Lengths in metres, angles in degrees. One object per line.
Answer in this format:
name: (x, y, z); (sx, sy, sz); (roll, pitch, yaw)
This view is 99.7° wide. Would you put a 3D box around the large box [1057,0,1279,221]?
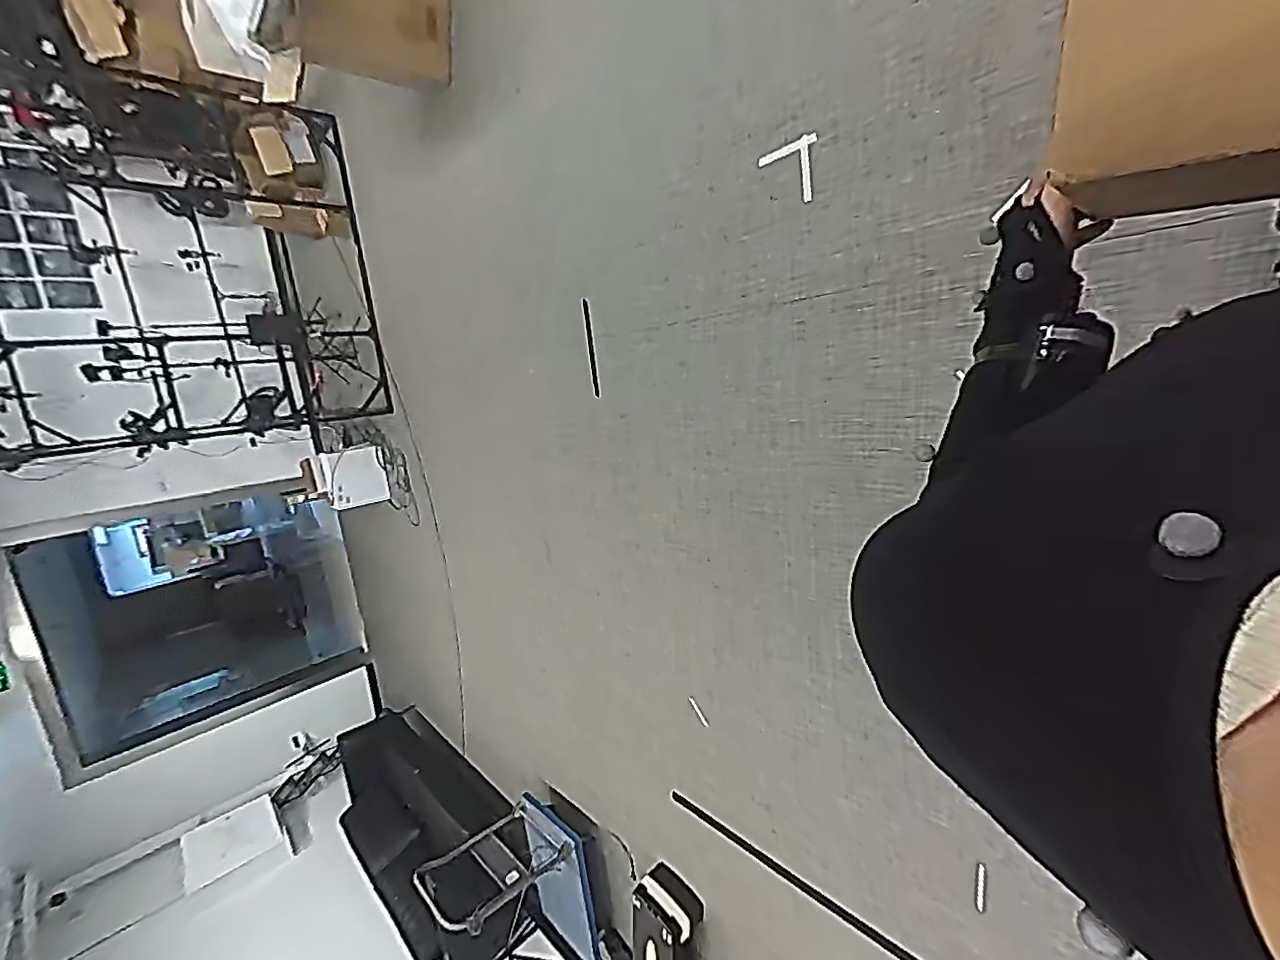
large box: (0.436, -0.314, 0.209); (0.408, 0.320, 0.320); (9, 113, 40)
